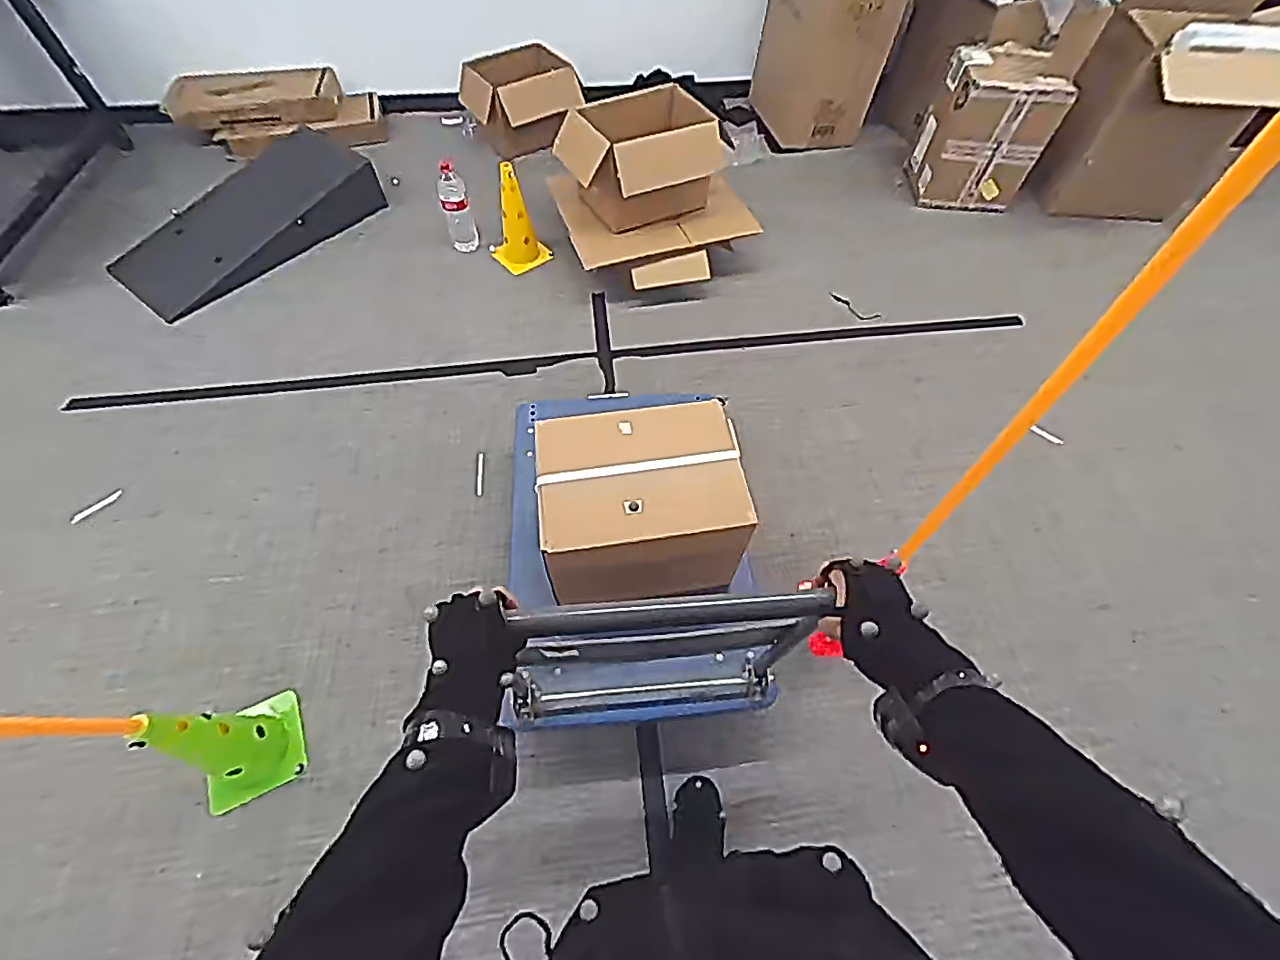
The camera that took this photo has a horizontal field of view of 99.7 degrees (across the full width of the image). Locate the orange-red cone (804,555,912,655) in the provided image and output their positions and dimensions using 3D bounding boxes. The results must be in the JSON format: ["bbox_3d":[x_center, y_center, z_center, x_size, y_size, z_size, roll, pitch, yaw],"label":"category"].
[{"bbox_3d":[0.537,0.263,1.259,0.199,0.360,0.198,0,58,-2],"label":"orange-red cone"}]
